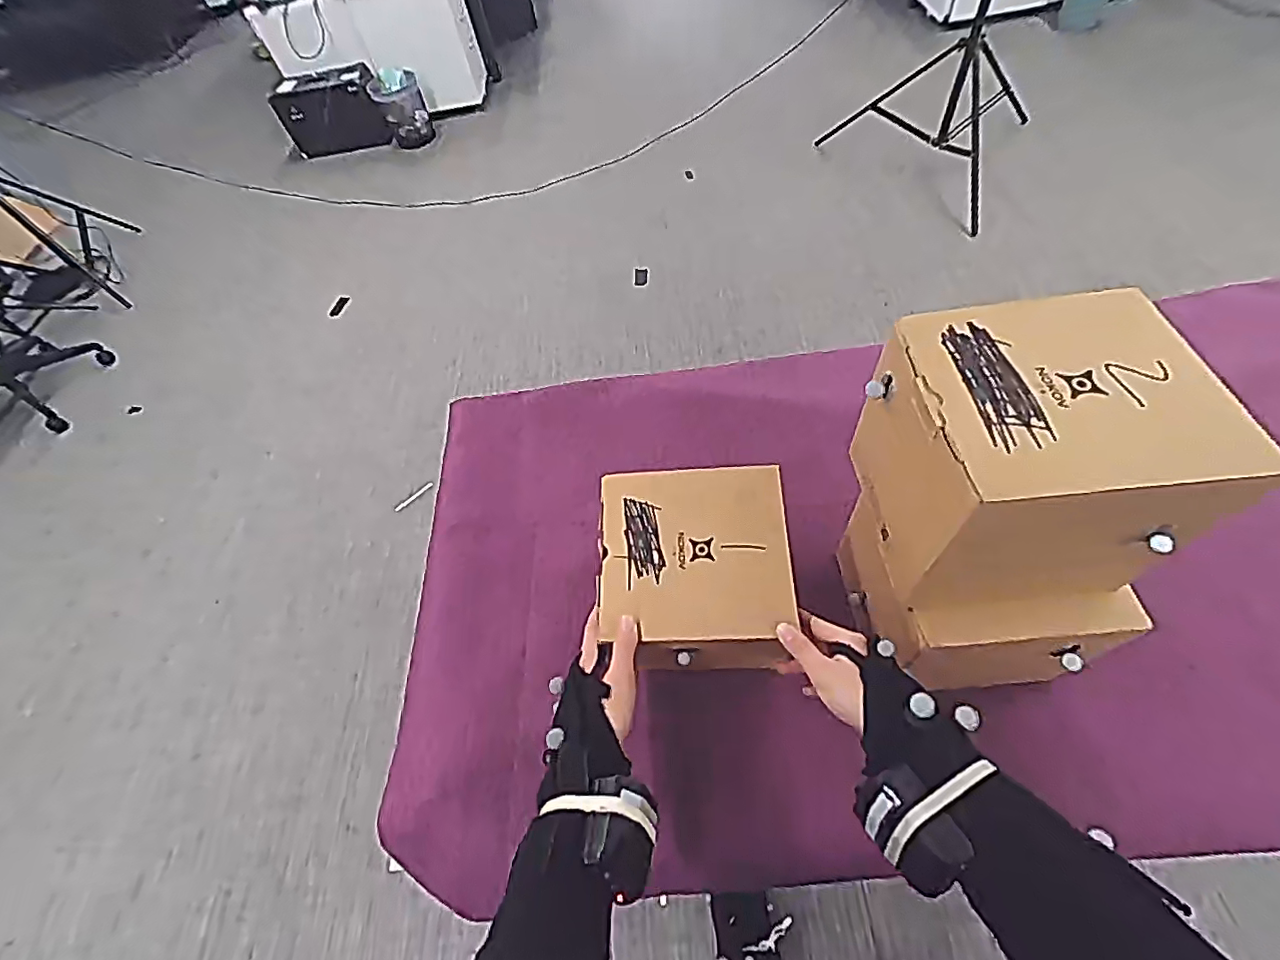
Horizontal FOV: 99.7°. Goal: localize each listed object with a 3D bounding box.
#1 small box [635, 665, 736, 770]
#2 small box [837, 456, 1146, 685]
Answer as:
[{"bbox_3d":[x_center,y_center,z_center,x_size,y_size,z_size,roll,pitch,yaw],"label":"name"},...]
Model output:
[{"bbox_3d":[0.088,0.473,1.070,0.179,0.176,0.168,-7,58,3],"label":"small box"},{"bbox_3d":[0.315,0.096,0.535,0.179,0.176,0.168,-6,55,4],"label":"small box"}]
